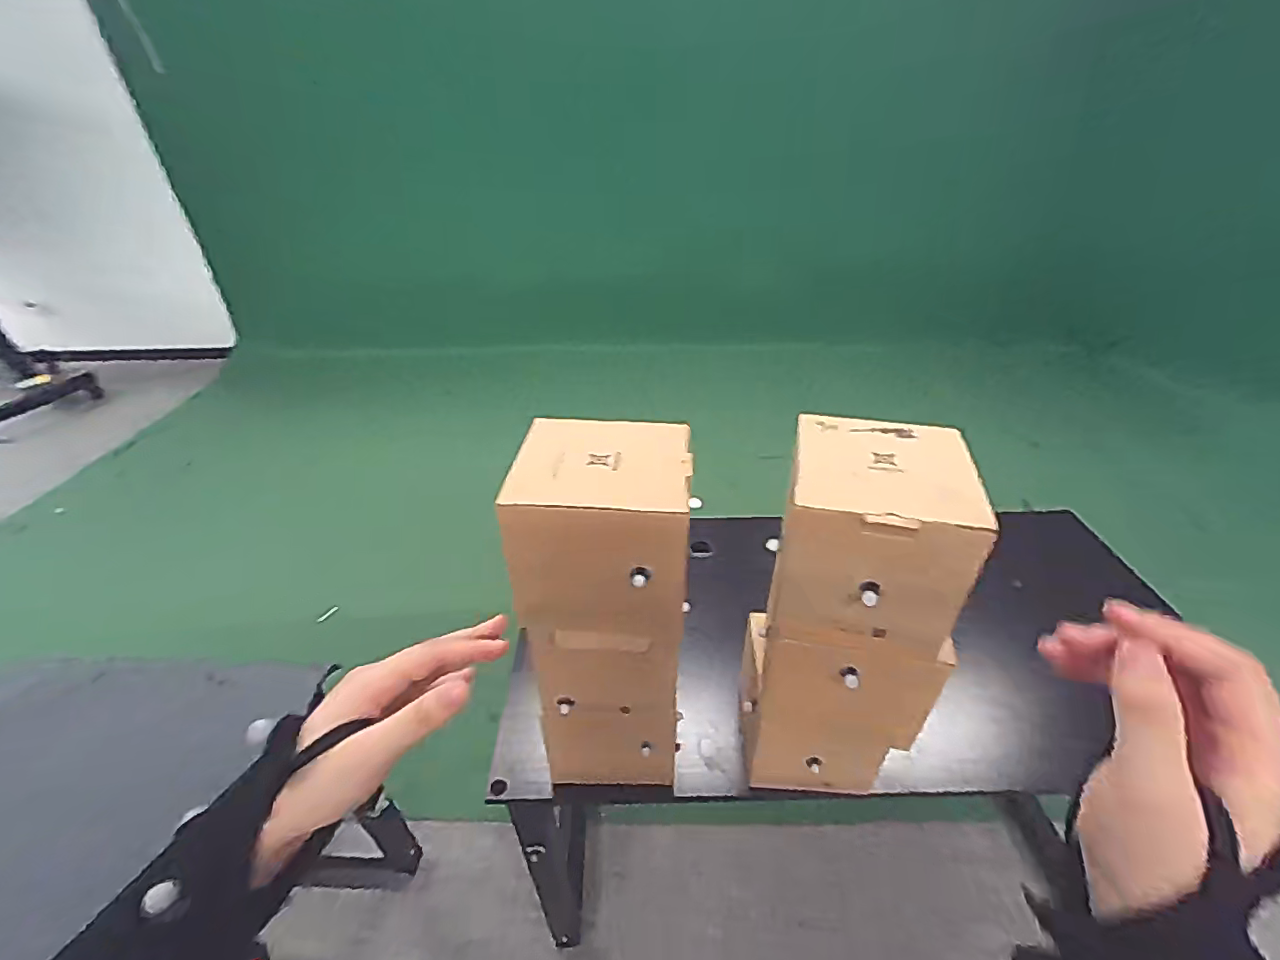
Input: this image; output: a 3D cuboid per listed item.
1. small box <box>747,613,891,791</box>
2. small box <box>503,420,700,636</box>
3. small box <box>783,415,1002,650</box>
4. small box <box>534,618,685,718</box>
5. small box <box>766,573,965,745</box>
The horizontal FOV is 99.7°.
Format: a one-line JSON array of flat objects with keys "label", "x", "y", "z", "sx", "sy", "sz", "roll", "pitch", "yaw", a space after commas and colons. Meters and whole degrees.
[{"label": "small box", "x": 0.247, "y": 0.313, "z": 0.767, "sx": 0.168, "sy": 0.176, "sz": 0.179, "roll": 2, "pitch": 36, "yaw": 4}, {"label": "small box", "x": -0.029, "y": 0.050, "z": 0.584, "sx": 0.179, "sy": 0.176, "sz": 0.168, "roll": 1, "pitch": 34, "yaw": 4}, {"label": "small box", "x": 0.247, "y": 0.052, "z": 0.573, "sx": 0.168, "sy": 0.176, "sz": 0.179, "roll": 7, "pitch": 37, "yaw": 14}, {"label": "small box", "x": -0.026, "y": 0.177, "z": 0.685, "sx": 0.168, "sy": 0.176, "sz": 0.179, "roll": 2, "pitch": 35, "yaw": 3}, {"label": "small box", "x": 0.256, "y": 0.193, "z": 0.656, "sx": 0.179, "sy": 0.176, "sz": 0.168, "roll": 6, "pitch": 37, "yaw": 11}]
